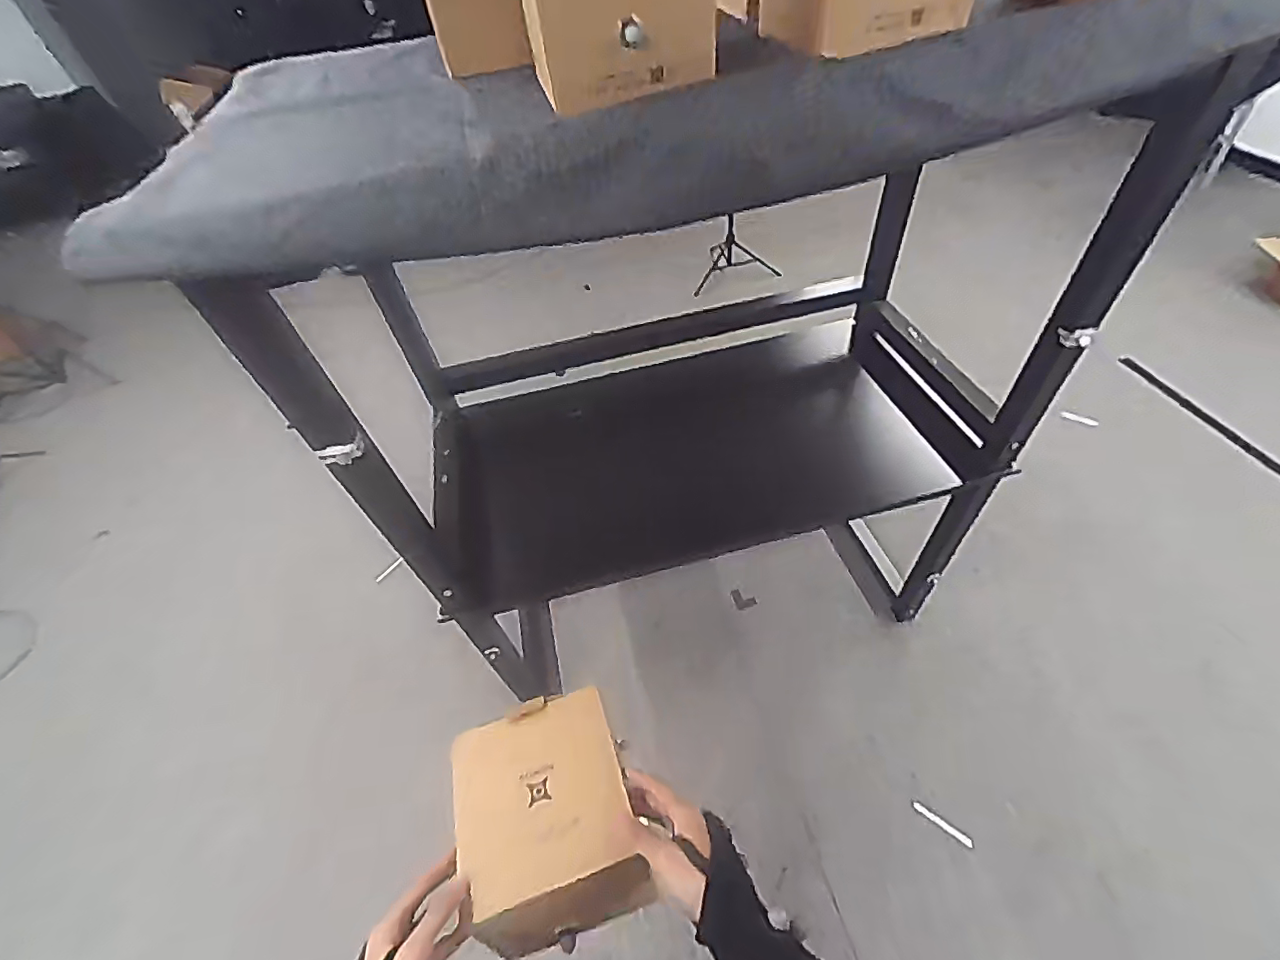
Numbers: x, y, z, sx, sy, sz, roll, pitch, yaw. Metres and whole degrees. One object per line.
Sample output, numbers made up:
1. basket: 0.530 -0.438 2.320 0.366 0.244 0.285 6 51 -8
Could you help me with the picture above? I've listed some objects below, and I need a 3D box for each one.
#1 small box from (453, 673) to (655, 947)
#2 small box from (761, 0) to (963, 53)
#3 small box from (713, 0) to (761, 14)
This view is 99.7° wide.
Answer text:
1. small box: -0.091 0.347 0.576 0.168 0.176 0.179 -16 40 -9
2. small box: 0.236 -0.572 0.567 0.168 0.176 0.179 -14 47 -5
3. small box: 0.191 -0.759 0.734 0.168 0.176 0.179 -15 48 -5
